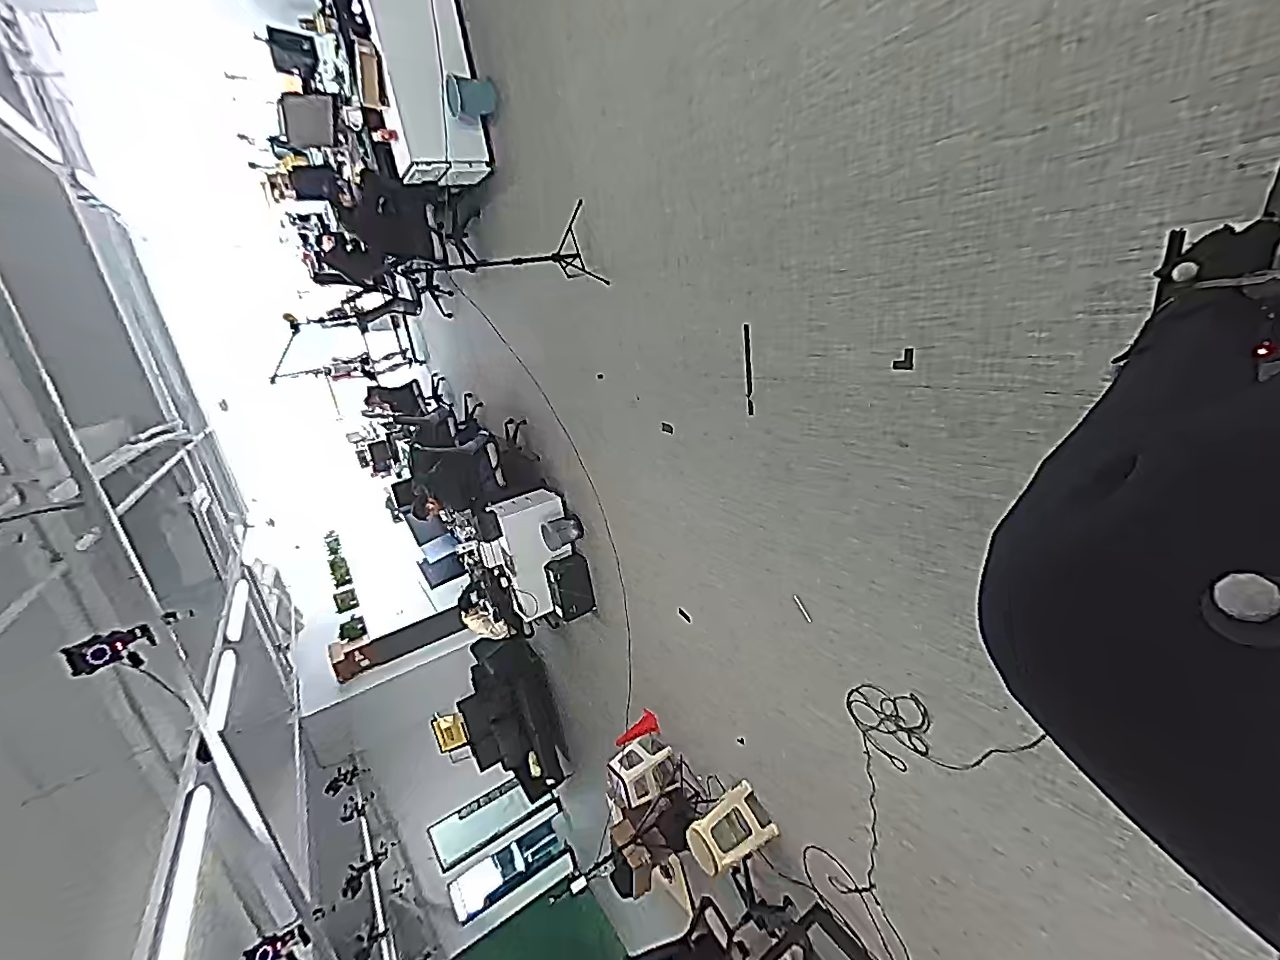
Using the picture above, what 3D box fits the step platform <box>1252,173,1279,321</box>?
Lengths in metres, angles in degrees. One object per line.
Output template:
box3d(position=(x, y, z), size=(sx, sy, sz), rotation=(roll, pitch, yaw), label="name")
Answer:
box3d(position=(1.343, -0.386, 0.730), size=(0.684, 0.204, 0.286), rotation=(18, 123, 55), label="step platform")
